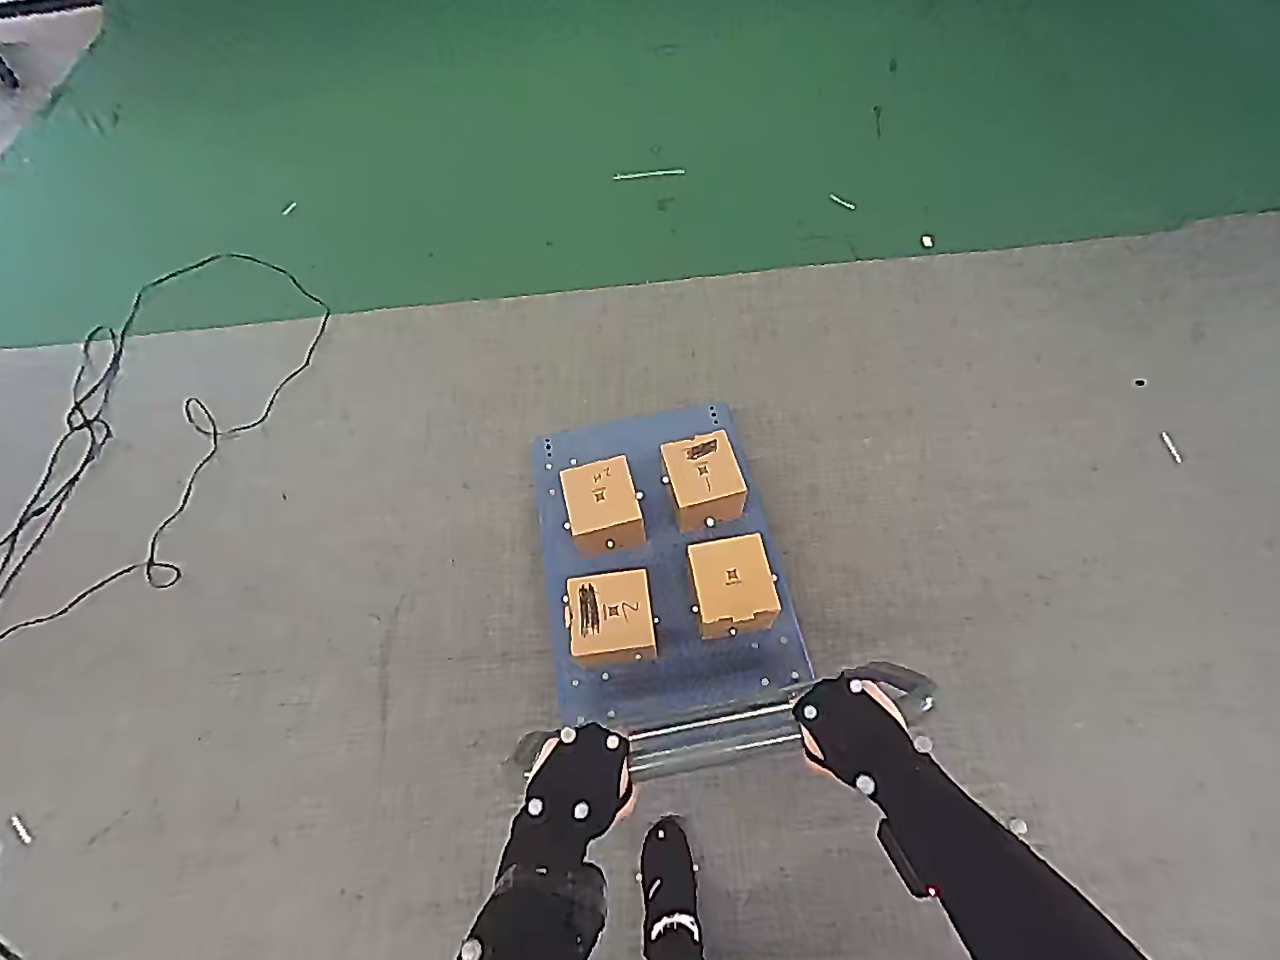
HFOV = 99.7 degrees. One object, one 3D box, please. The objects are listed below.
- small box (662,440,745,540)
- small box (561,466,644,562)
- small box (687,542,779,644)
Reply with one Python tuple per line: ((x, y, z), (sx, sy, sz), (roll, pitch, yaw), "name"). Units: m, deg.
((0.155, 0.029, 1.370), (0.168, 0.176, 0.179), (-14, 63, -2), "small box")
((-0.089, 0.093, 1.356), (0.168, 0.176, 0.179), (-14, 62, -4), "small box")
((0.204, 0.264, 1.244), (0.168, 0.176, 0.179), (-10, 62, -1), "small box")
